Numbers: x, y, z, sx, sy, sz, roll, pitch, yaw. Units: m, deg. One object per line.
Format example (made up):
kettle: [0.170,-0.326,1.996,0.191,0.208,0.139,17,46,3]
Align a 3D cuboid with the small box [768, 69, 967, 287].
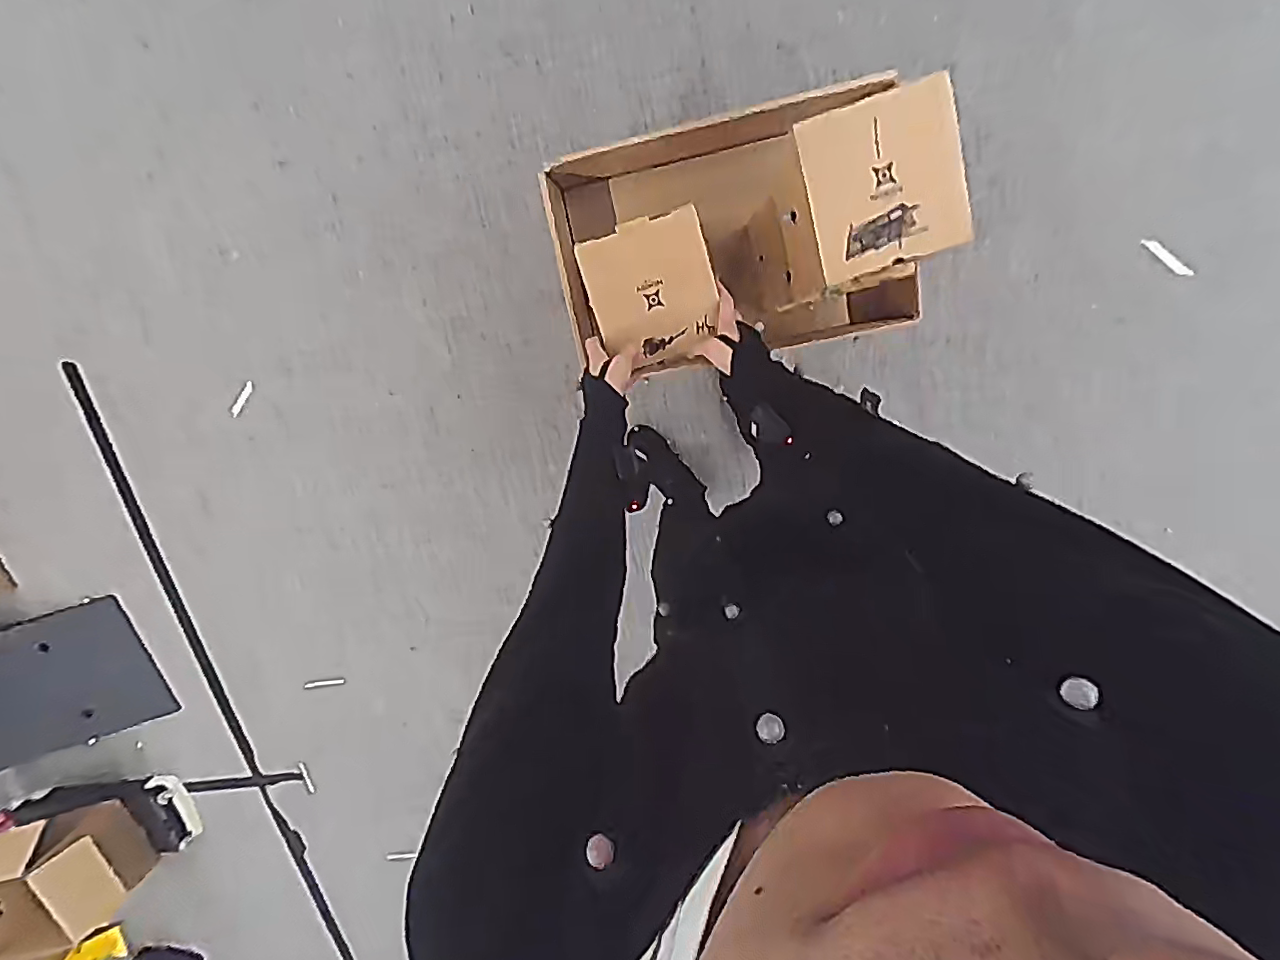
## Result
small box: [0.266,-0.347,0.665,0.168,0.176,0.179,-16,103,8]

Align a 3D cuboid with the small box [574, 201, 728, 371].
small box: [0.019,-0.269,0.778,0.168,0.176,0.179,-16,105,9]

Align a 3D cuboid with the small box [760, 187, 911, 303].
small box: [0.288,-0.380,0.825,0.168,0.176,0.179,-13,105,8]
